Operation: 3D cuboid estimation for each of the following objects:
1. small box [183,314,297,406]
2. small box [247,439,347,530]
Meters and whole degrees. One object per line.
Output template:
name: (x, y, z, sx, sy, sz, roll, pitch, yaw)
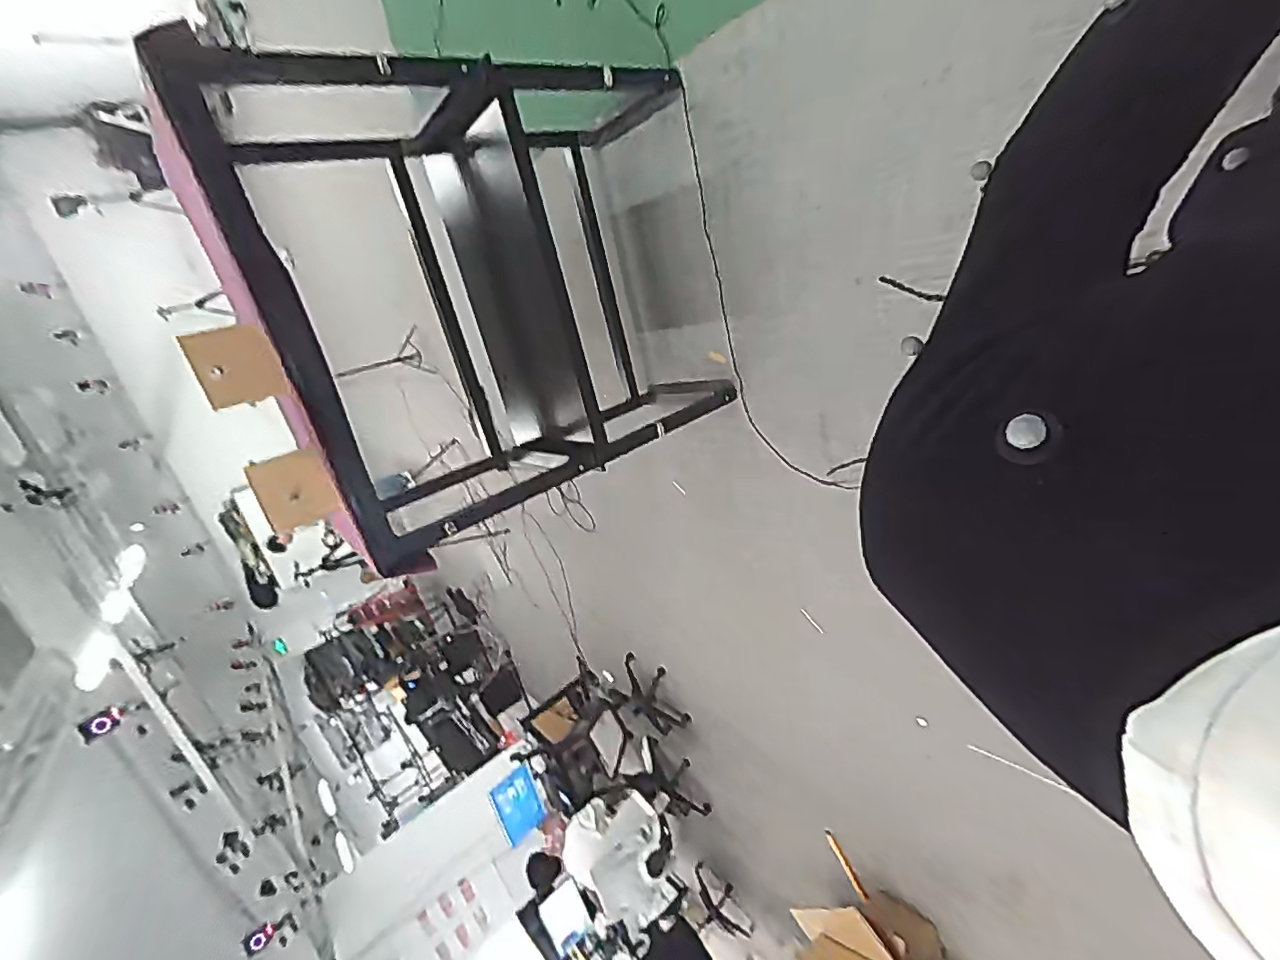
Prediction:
small box: (-0.953, -0.286, 1.300, 0.168, 0.176, 0.179, 10, 119, 52)
small box: (-0.885, 0.006, 1.400, 0.168, 0.176, 0.179, 9, 119, 52)
